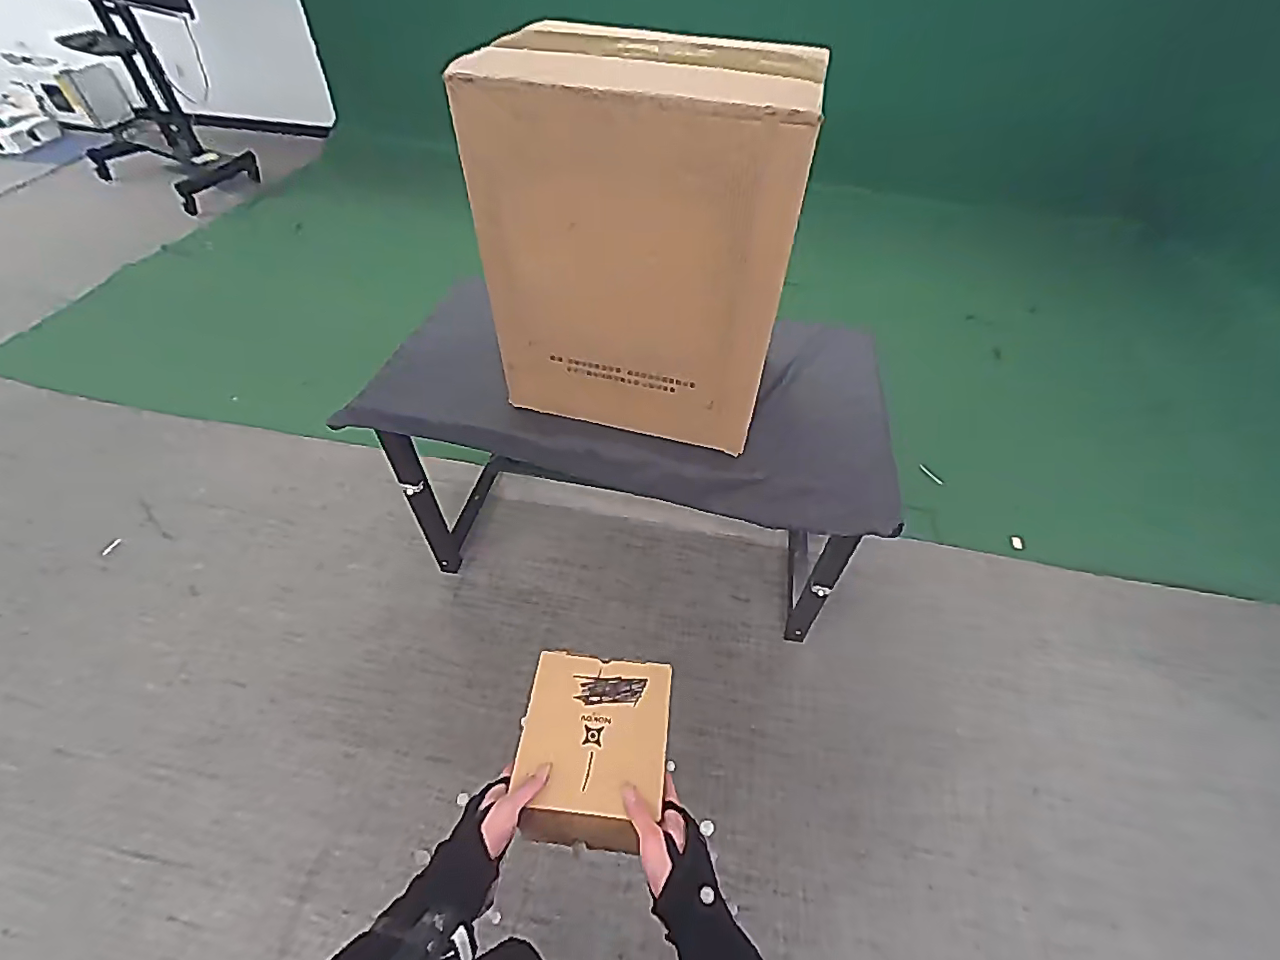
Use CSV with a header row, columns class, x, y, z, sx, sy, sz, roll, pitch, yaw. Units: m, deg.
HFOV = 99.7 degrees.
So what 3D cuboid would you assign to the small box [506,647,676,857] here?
class,x,y,z,sx,sy,sz,roll,pitch,yaw
small box,-0.052,0.338,0.673,0.168,0.176,0.179,8,46,5
